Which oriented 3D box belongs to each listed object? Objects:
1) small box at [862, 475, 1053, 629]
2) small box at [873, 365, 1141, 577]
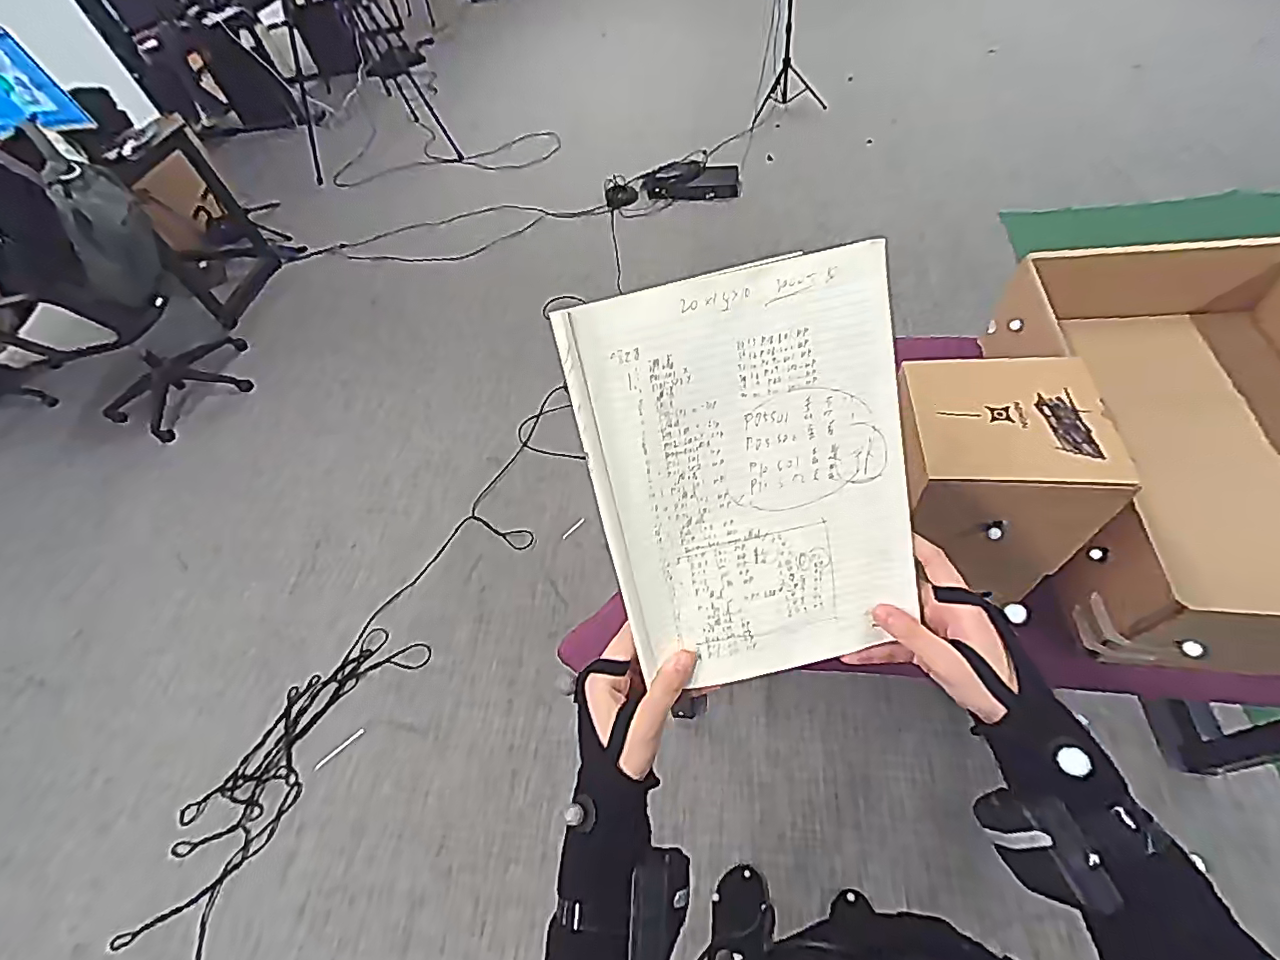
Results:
[{"bbox_3d":[0.403,0.084,0.725,0.168,0.176,0.179,2,53,11],"label":"small box"},{"bbox_3d":[0.372,-0.006,0.591,0.179,0.176,0.168,2,53,11],"label":"small box"}]
